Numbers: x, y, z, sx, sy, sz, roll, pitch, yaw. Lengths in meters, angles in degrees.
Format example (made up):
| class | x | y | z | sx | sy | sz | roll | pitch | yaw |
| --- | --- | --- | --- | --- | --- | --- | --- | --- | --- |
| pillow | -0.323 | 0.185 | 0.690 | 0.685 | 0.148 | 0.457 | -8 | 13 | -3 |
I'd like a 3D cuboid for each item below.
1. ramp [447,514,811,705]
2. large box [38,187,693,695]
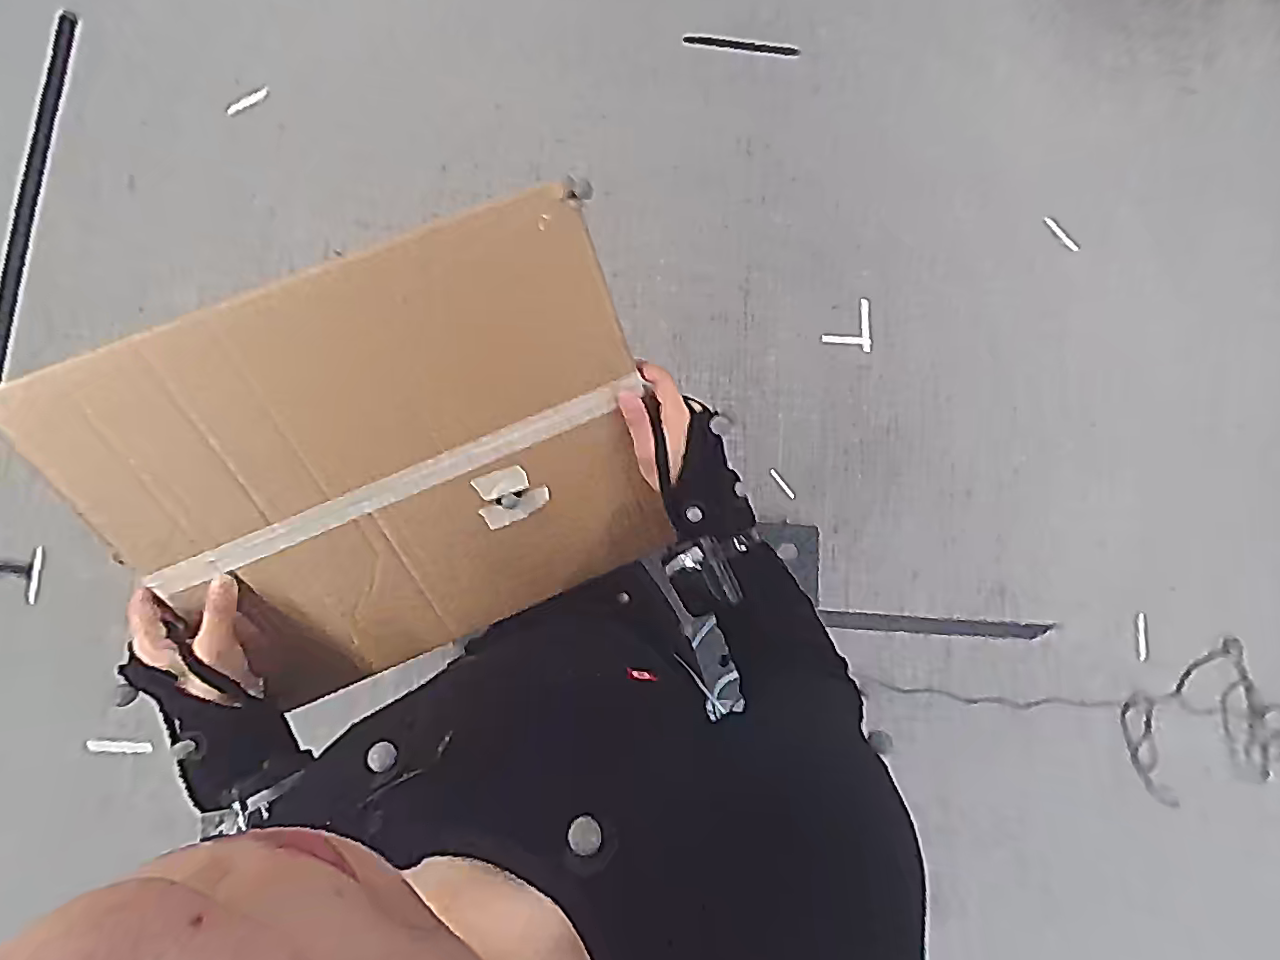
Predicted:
| class | x | y | z | sx | sy | sz | roll | pitch | yaw |
| --- | --- | --- | --- | --- | --- | --- | --- | --- | --- |
| ramp | 0.025 | 0.329 | 1.455 | 0.991 | 0.206 | 0.509 | 2 | 82 | -7 |
| large box | -0.213 | -0.063 | 0.572 | 0.408 | 0.320 | 0.320 | -23 | 118 | -5 |
